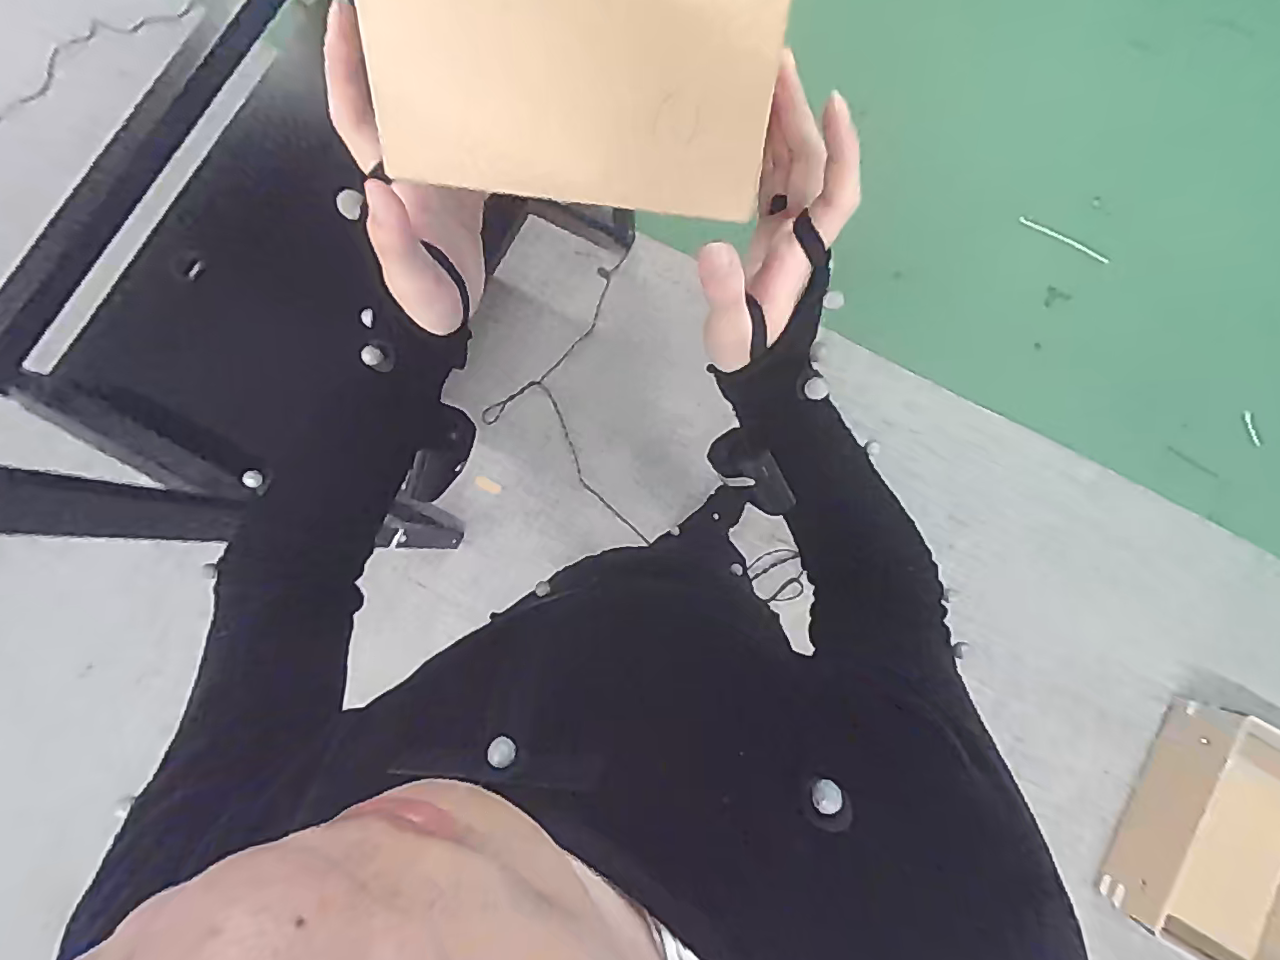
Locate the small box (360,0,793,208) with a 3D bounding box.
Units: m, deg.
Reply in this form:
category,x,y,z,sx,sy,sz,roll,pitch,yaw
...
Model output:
category,x,y,z,sx,sy,sz,roll,pitch,yaw
small box,-0.010,-0.244,0.248,0.168,0.179,0.176,11,37,6
